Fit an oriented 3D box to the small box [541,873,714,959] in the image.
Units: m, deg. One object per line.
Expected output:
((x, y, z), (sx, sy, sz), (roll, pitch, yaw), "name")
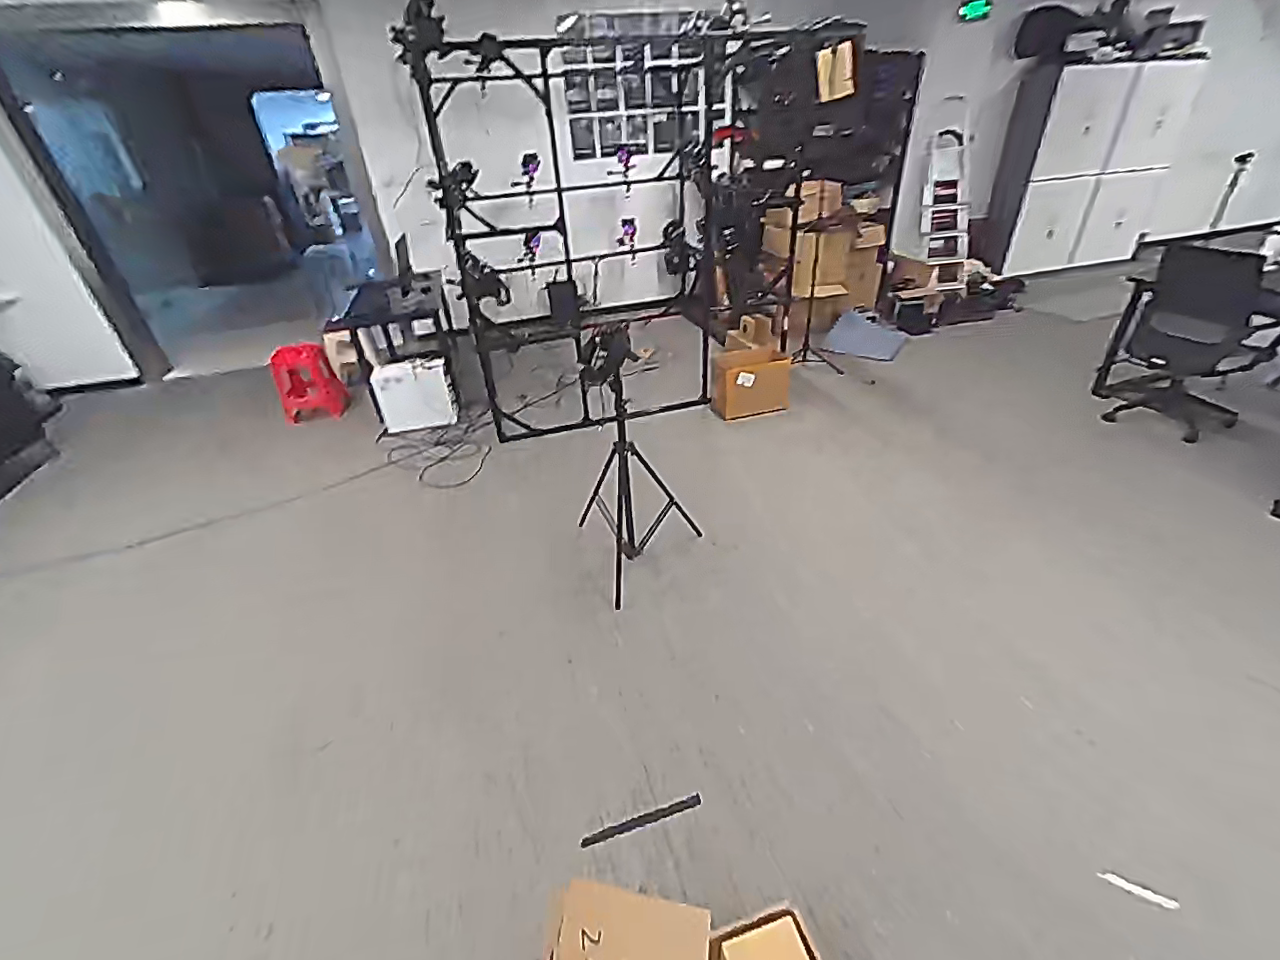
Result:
((-0.027, 0.593, 0.638), (0.179, 0.176, 0.168), (16, 45, -3), "small box")

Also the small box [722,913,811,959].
((0.278, 1.069, 1.140), (0.168, 0.176, 0.179), (-13, 37, -11), "small box")
